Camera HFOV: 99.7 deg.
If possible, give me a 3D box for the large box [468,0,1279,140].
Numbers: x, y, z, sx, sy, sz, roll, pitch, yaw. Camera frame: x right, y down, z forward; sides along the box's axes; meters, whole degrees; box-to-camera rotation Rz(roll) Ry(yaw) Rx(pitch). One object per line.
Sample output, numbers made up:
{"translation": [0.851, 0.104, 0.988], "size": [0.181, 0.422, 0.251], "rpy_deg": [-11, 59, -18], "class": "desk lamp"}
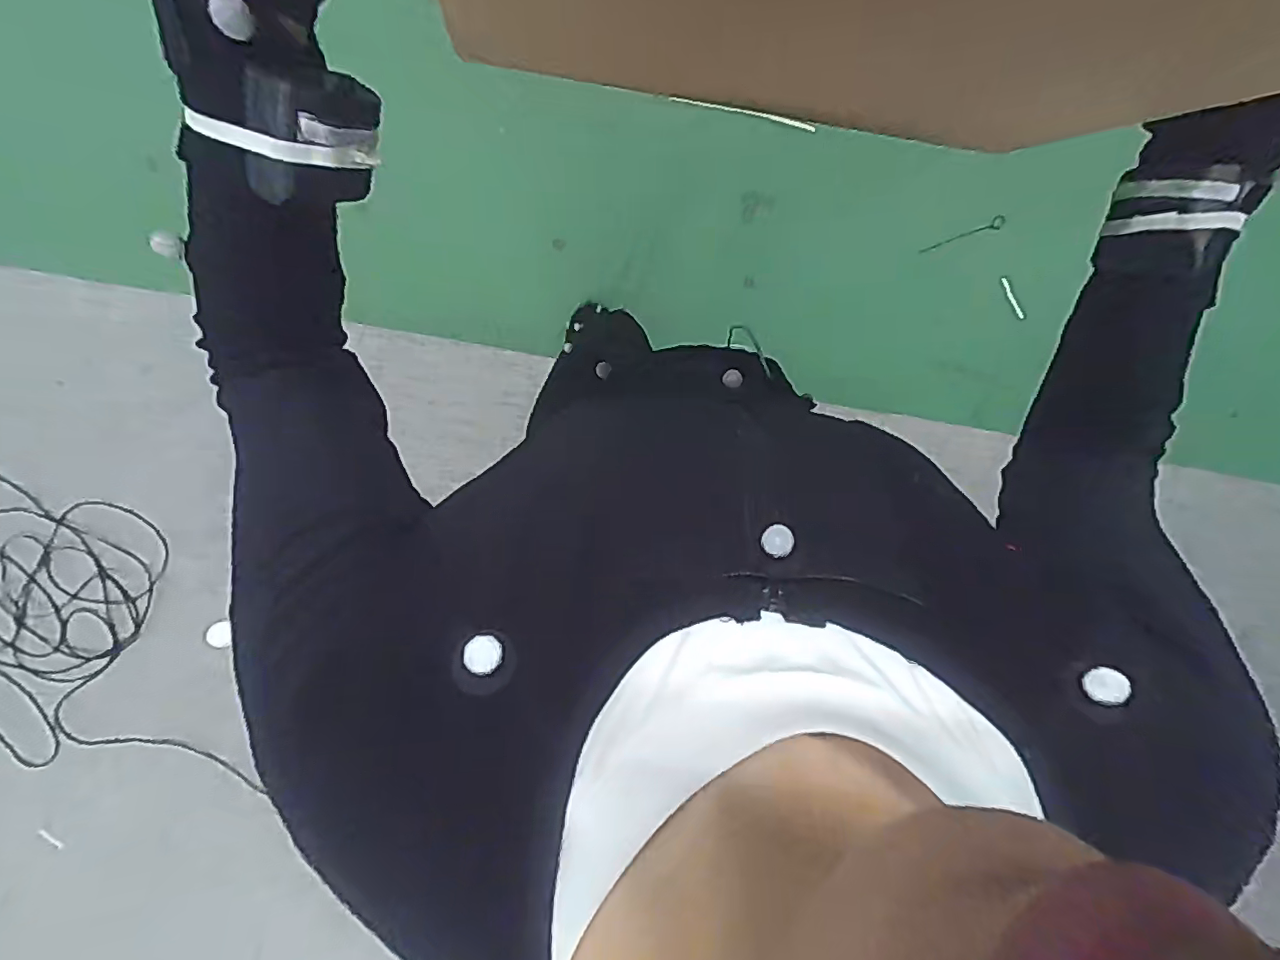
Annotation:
{"translation": [0.137, -0.346, 0.184], "size": [0.408, 0.320, 0.320], "rpy_deg": [0, 112, -15], "class": "large box"}
